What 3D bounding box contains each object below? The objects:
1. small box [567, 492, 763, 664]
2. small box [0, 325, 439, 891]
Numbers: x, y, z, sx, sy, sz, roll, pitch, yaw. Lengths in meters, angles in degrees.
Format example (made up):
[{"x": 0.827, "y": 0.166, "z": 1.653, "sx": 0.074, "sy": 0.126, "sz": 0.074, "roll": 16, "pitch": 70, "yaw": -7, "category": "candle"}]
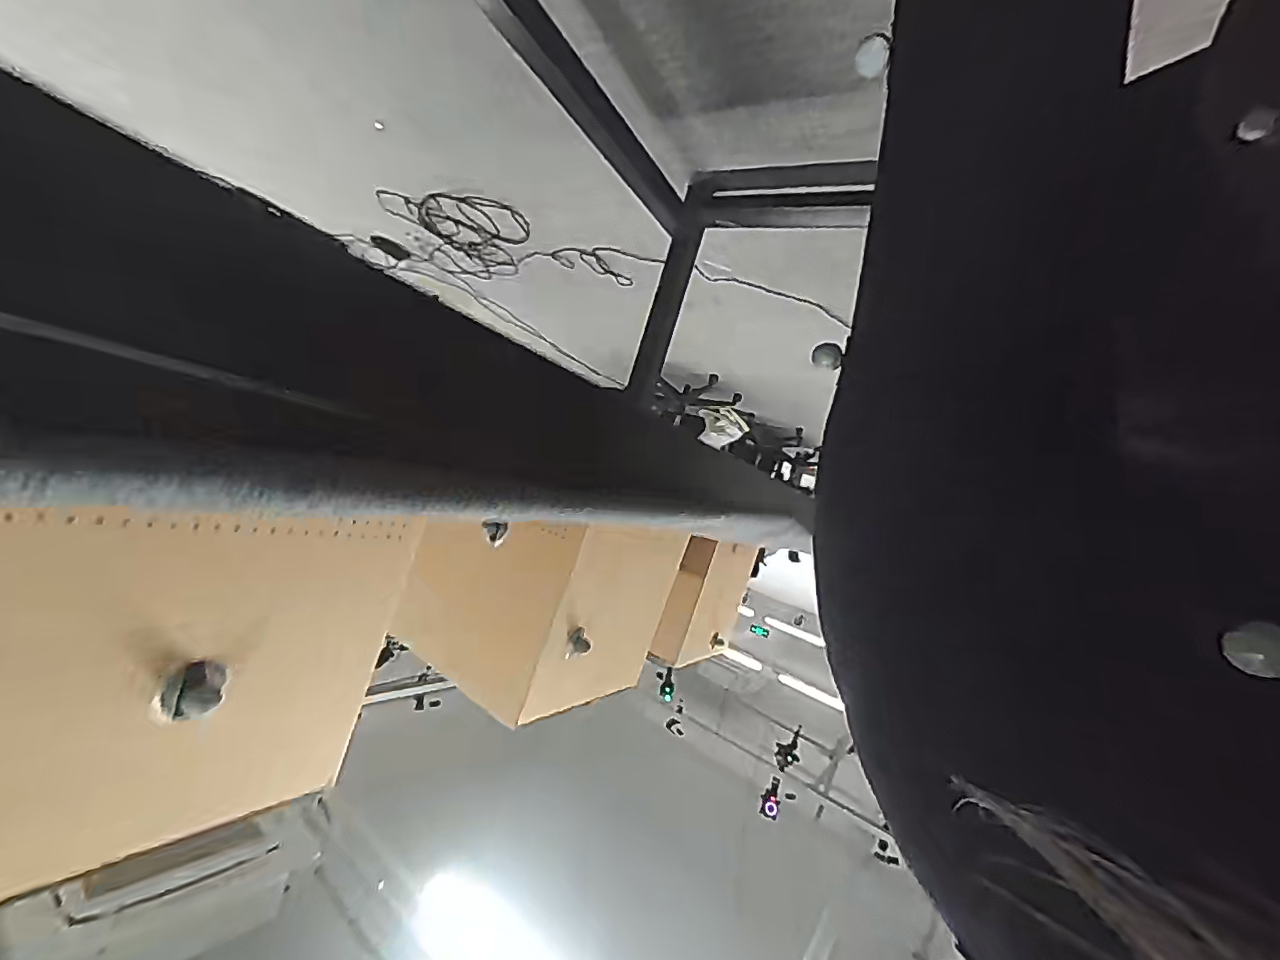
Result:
[{"x": 0.039, "y": 0.119, "z": 0.719, "sx": 0.179, "sy": 0.176, "sz": 0.168, "roll": 20, "pitch": -179, "yaw": 31, "category": "small box"}, {"x": -0.230, "y": 0.038, "z": 0.247, "sx": 0.168, "sy": 0.176, "sz": 0.179, "roll": 22, "pitch": -176, "yaw": 31, "category": "small box"}]
